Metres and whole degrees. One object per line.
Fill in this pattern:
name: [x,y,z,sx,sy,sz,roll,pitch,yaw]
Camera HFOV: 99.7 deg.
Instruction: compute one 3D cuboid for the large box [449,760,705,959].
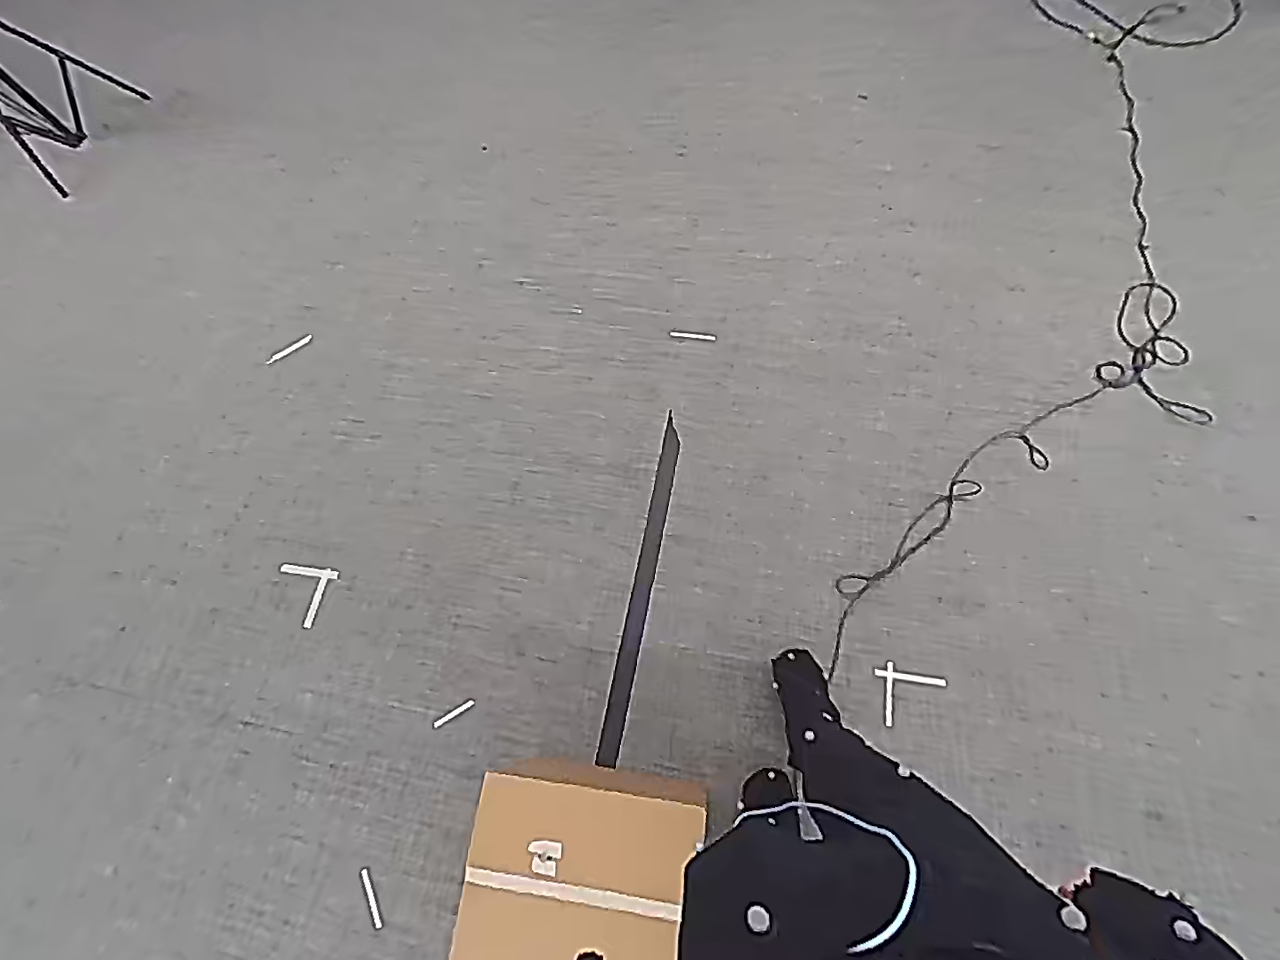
large box: [-0.086,0.746,1.037,0.408,0.320,0.320,4,67,10]
